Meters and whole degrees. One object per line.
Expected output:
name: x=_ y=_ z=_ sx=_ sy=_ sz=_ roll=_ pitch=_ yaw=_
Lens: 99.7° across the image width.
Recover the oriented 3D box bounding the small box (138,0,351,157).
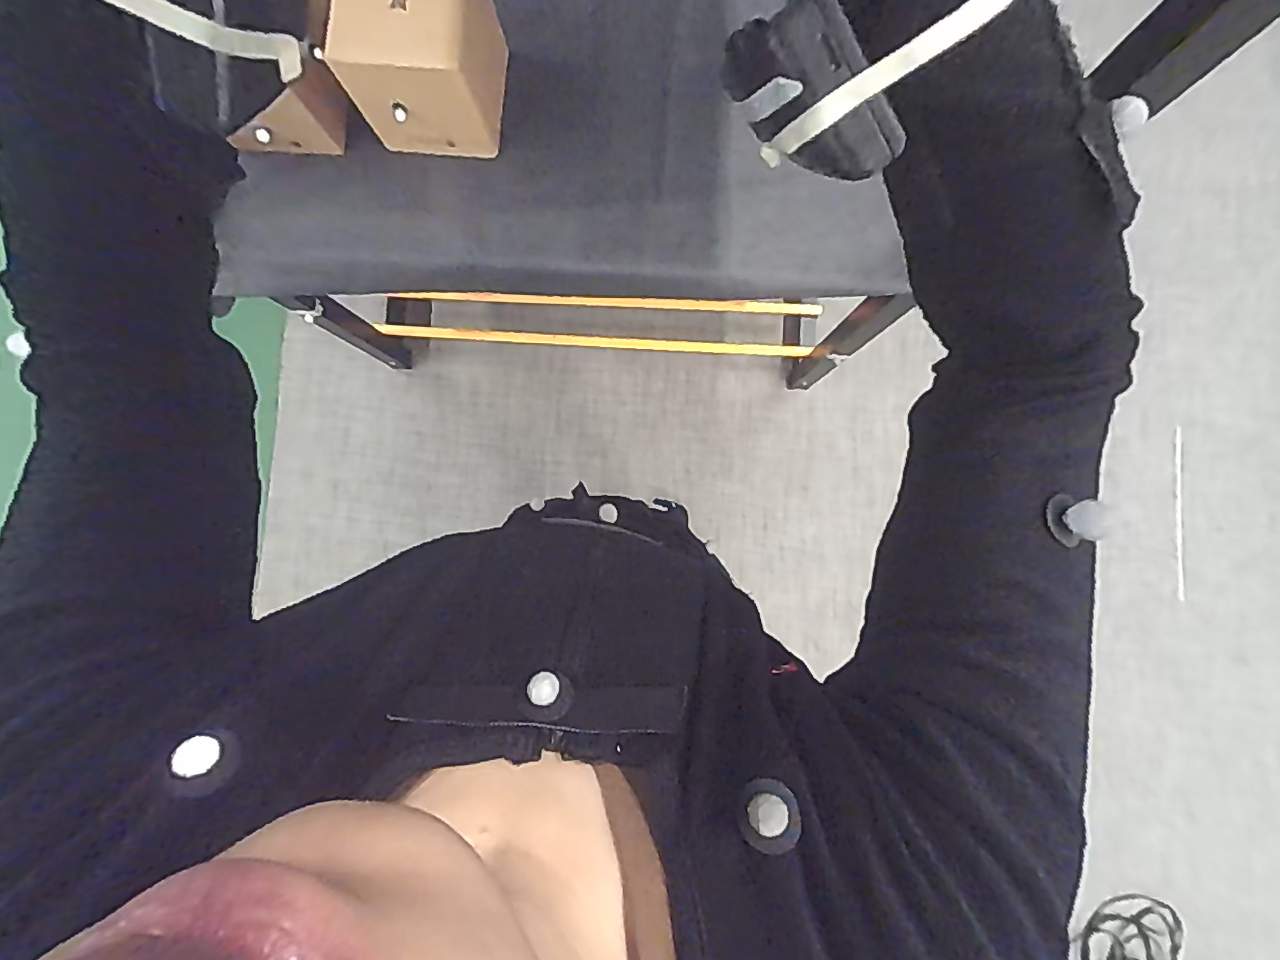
small box: x=-0.517 y=-0.582 z=0.736 sx=0.168 sy=0.176 sz=0.179 roll=3 pitch=86 yaw=0

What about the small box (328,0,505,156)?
small box: x=-0.290 y=-0.577 z=0.738 sx=0.168 sy=0.176 sz=0.179 roll=4 pitch=86 yaw=0
